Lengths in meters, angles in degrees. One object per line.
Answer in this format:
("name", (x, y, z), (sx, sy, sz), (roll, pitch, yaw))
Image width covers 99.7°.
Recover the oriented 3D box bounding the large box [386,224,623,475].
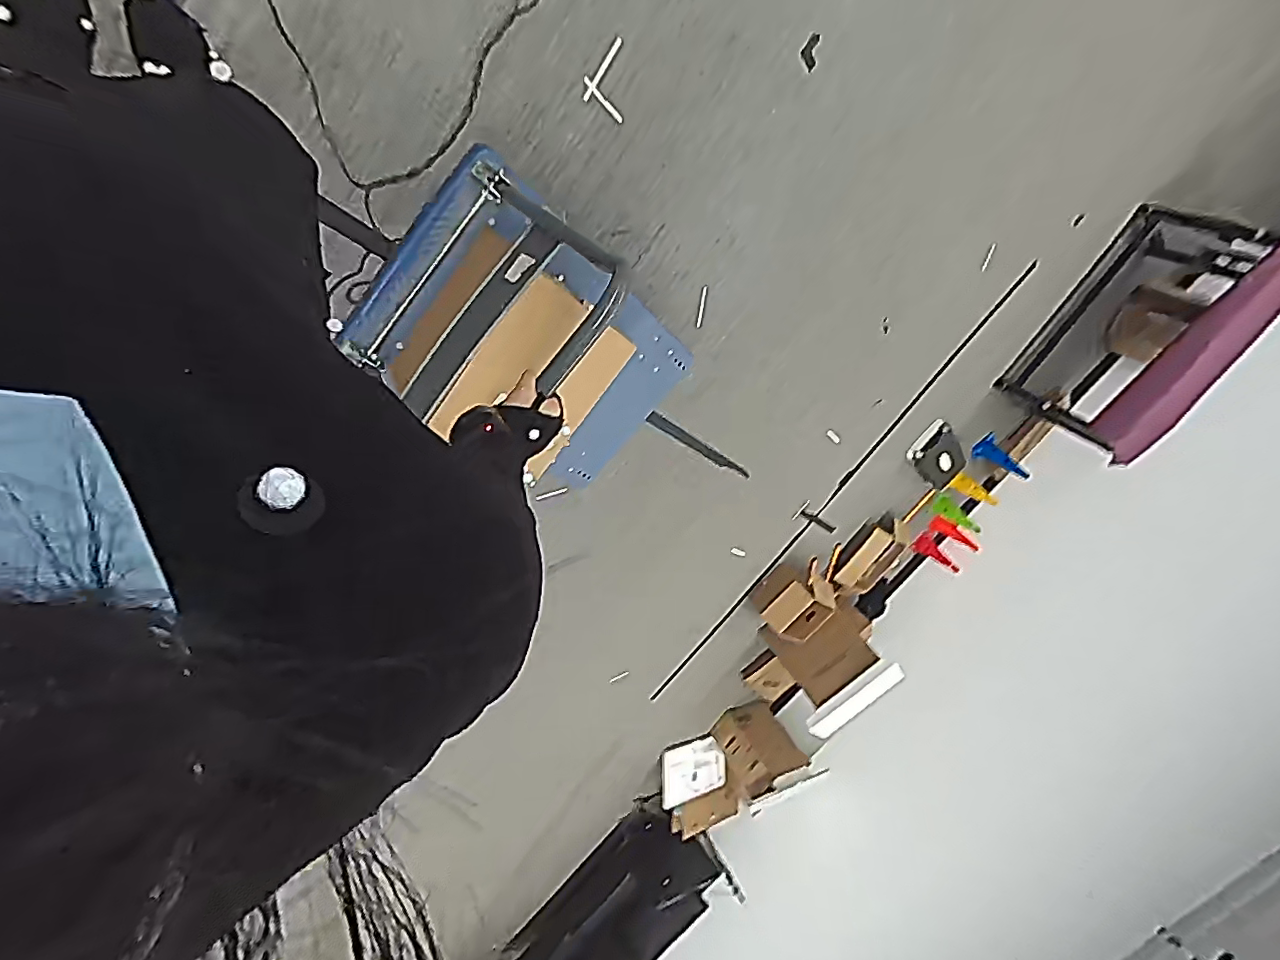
("large box", (-0.320, -0.292, 1.251), (0.408, 0.320, 0.320), (-50, 138, 12))
